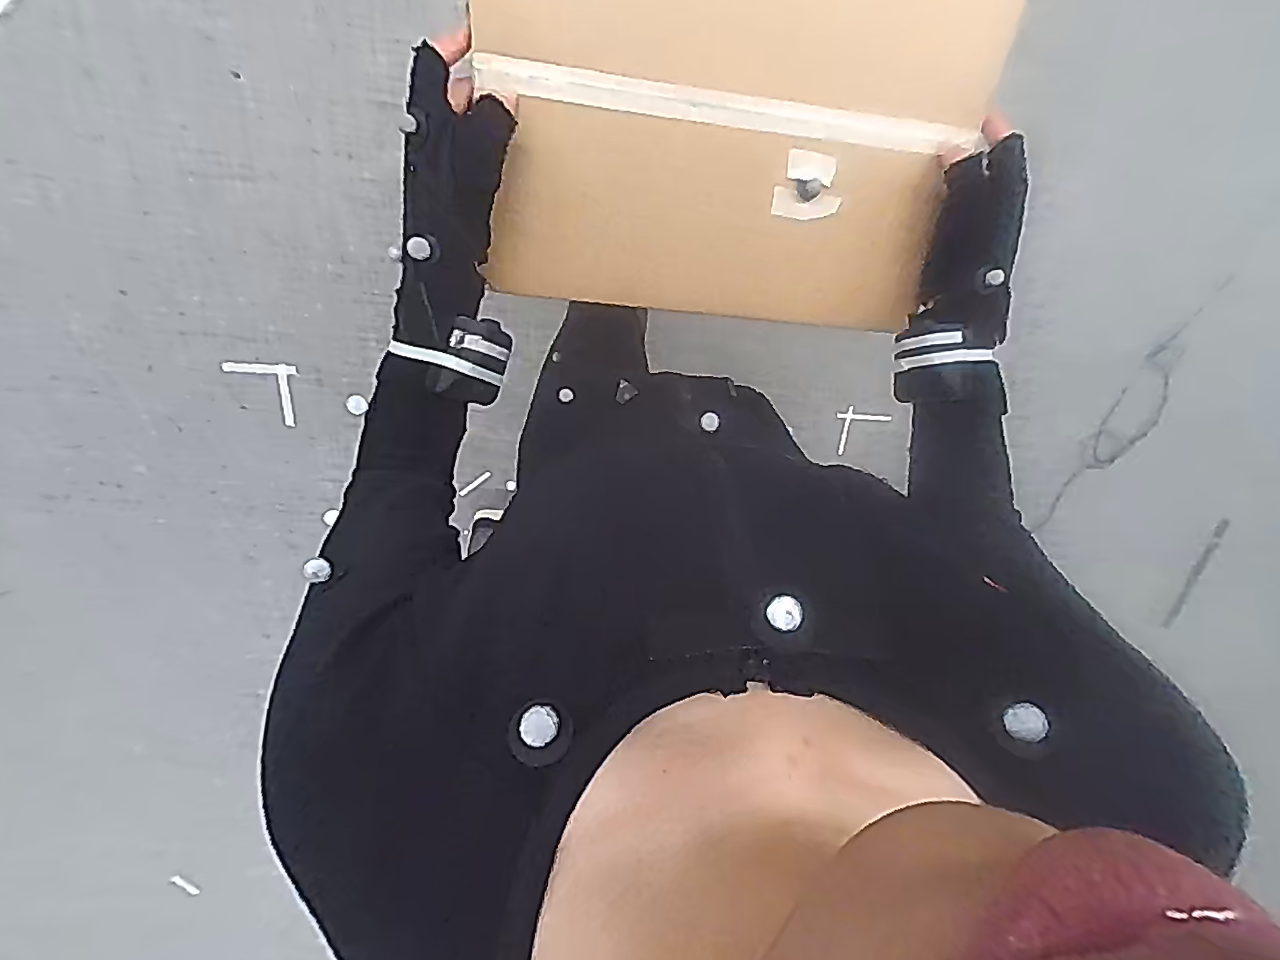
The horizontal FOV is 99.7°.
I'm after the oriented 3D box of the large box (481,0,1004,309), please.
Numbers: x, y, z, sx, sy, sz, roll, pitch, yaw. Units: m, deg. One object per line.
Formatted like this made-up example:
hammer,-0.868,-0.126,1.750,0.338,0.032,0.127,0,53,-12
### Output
large box,0.061,-0.378,0.562,0.408,0.320,0.320,3,119,-8
